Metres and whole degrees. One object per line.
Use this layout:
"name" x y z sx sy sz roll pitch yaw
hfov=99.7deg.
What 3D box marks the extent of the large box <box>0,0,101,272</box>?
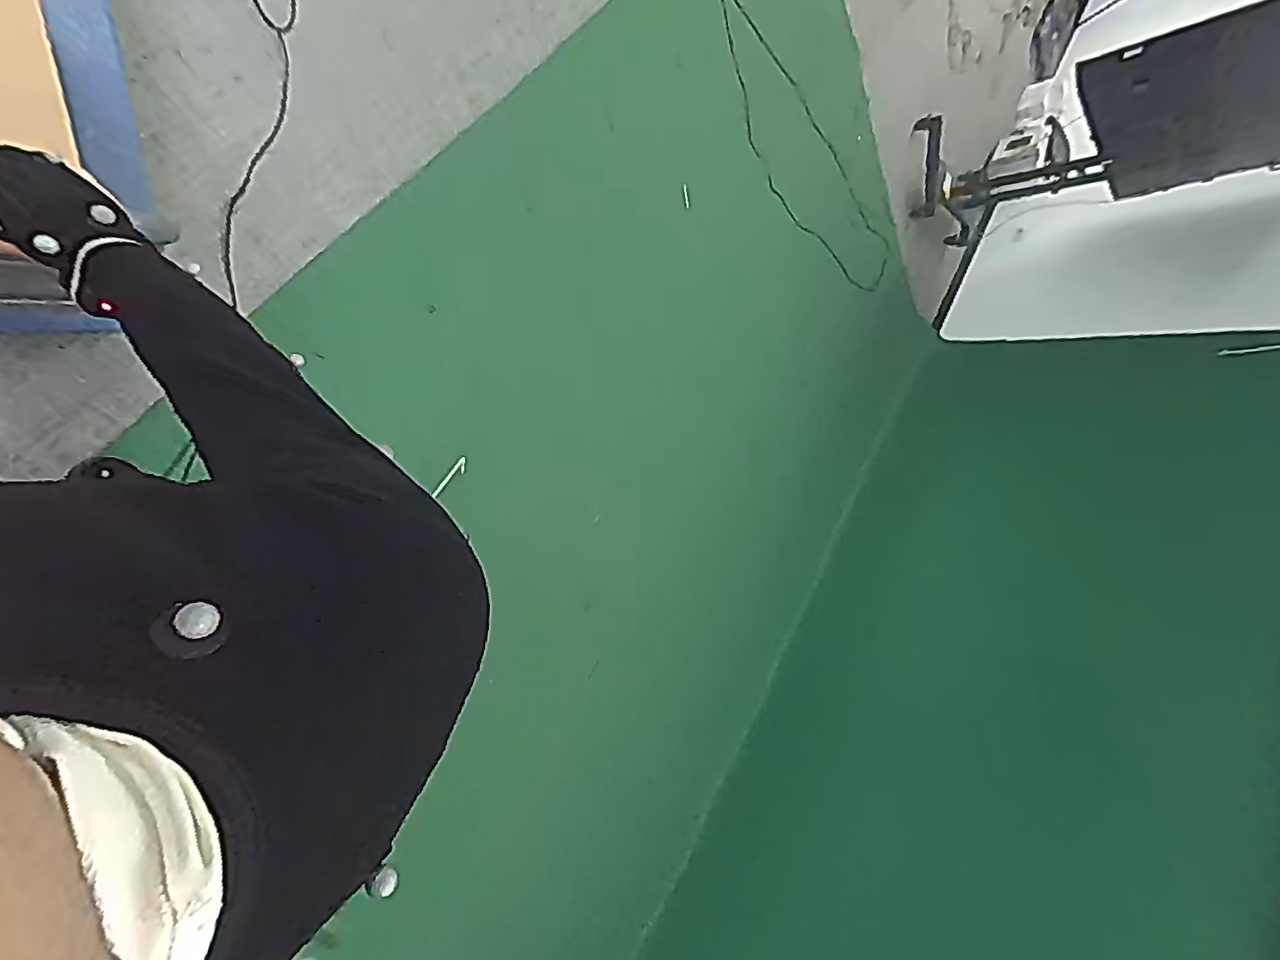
"large box" -1.034 -0.532 0.767 0.320 0.320 0.408 -15 107 -43
